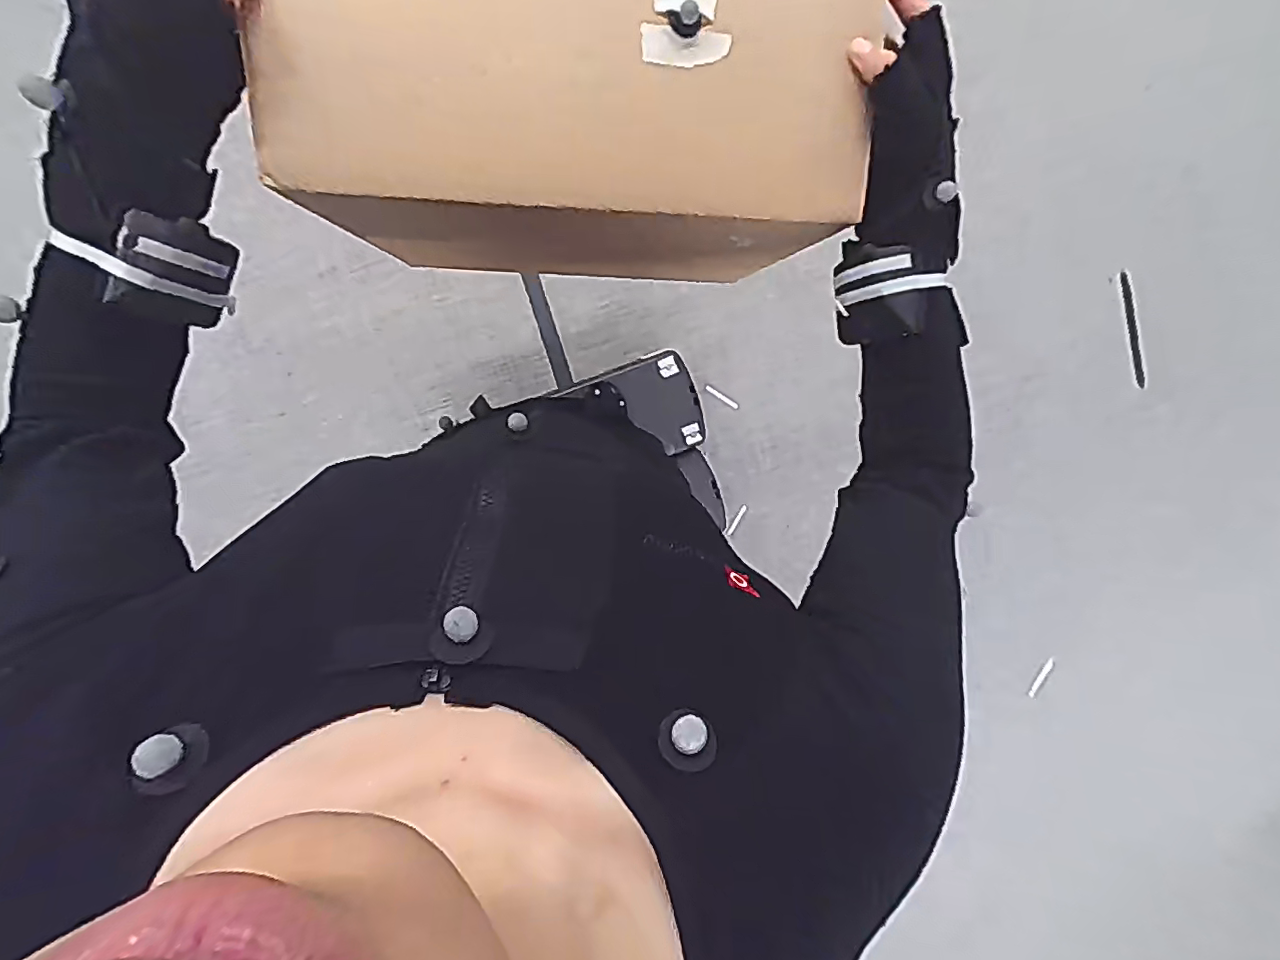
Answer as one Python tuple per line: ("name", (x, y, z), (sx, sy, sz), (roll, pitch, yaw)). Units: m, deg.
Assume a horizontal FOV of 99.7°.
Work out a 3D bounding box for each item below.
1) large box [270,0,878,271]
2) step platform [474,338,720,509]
("large box", (-0.051, -0.379, 0.491), (0.408, 0.320, 0.320), (0, 103, -7))
("step platform", (-0.119, -0.165, 1.557), (0.684, 0.204, 0.286), (-22, 101, -3))
